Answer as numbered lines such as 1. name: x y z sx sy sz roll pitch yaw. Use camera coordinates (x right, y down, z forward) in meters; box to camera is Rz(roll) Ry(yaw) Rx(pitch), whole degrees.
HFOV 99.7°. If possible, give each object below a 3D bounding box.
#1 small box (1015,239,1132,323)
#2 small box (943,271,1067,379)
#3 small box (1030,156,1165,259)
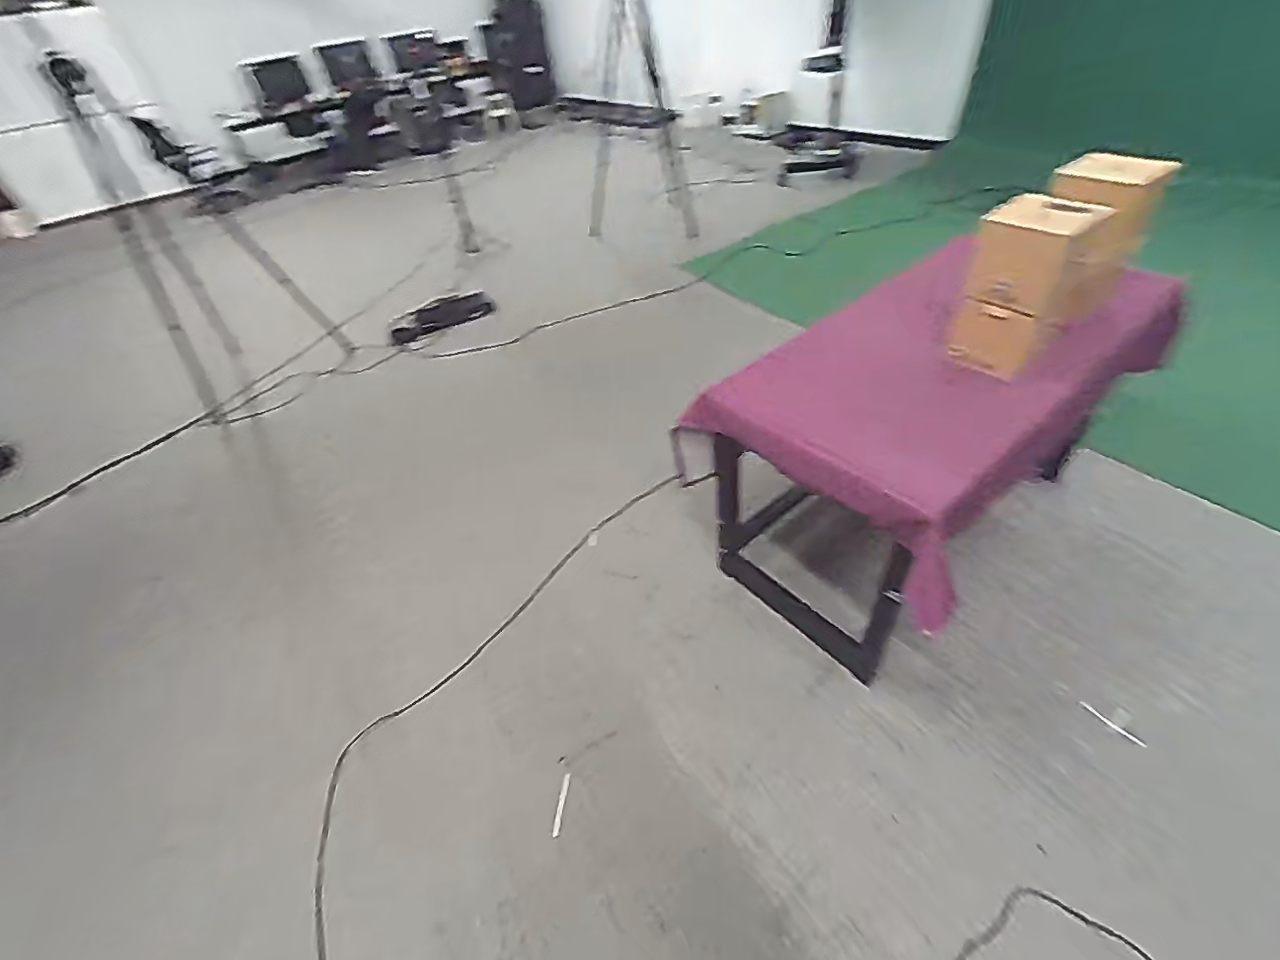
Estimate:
1. small box: 1.097 -0.530 1.397 0.179 0.176 0.168 -28 47 -19
2. small box: 0.839 -0.360 1.263 0.179 0.176 0.168 -33 48 -24
3. small box: 1.074 -0.649 1.289 0.179 0.176 0.168 -30 48 -21
